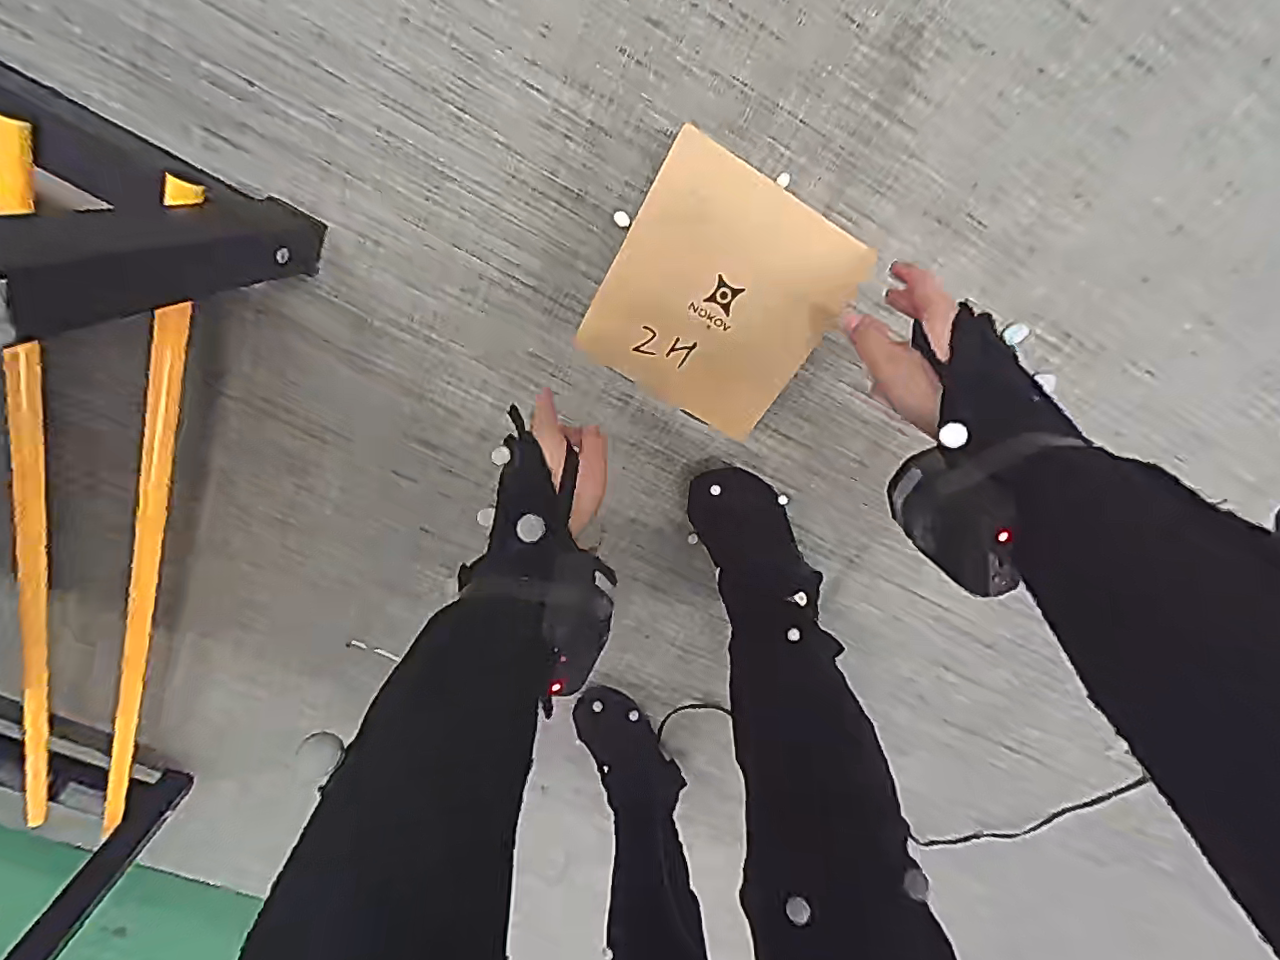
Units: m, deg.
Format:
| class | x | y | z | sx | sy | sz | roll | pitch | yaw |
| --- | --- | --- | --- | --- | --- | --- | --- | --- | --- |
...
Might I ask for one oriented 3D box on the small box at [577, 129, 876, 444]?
| class | x | y | z | sx | sy | sz | roll | pitch | yaw |
| --- | --- | --- | --- | --- | --- | --- | --- | --- | --- |
| small box | 0.064 | -0.169 | 0.479 | 0.168 | 0.176 | 0.179 | 29 | 116 | -10 |
